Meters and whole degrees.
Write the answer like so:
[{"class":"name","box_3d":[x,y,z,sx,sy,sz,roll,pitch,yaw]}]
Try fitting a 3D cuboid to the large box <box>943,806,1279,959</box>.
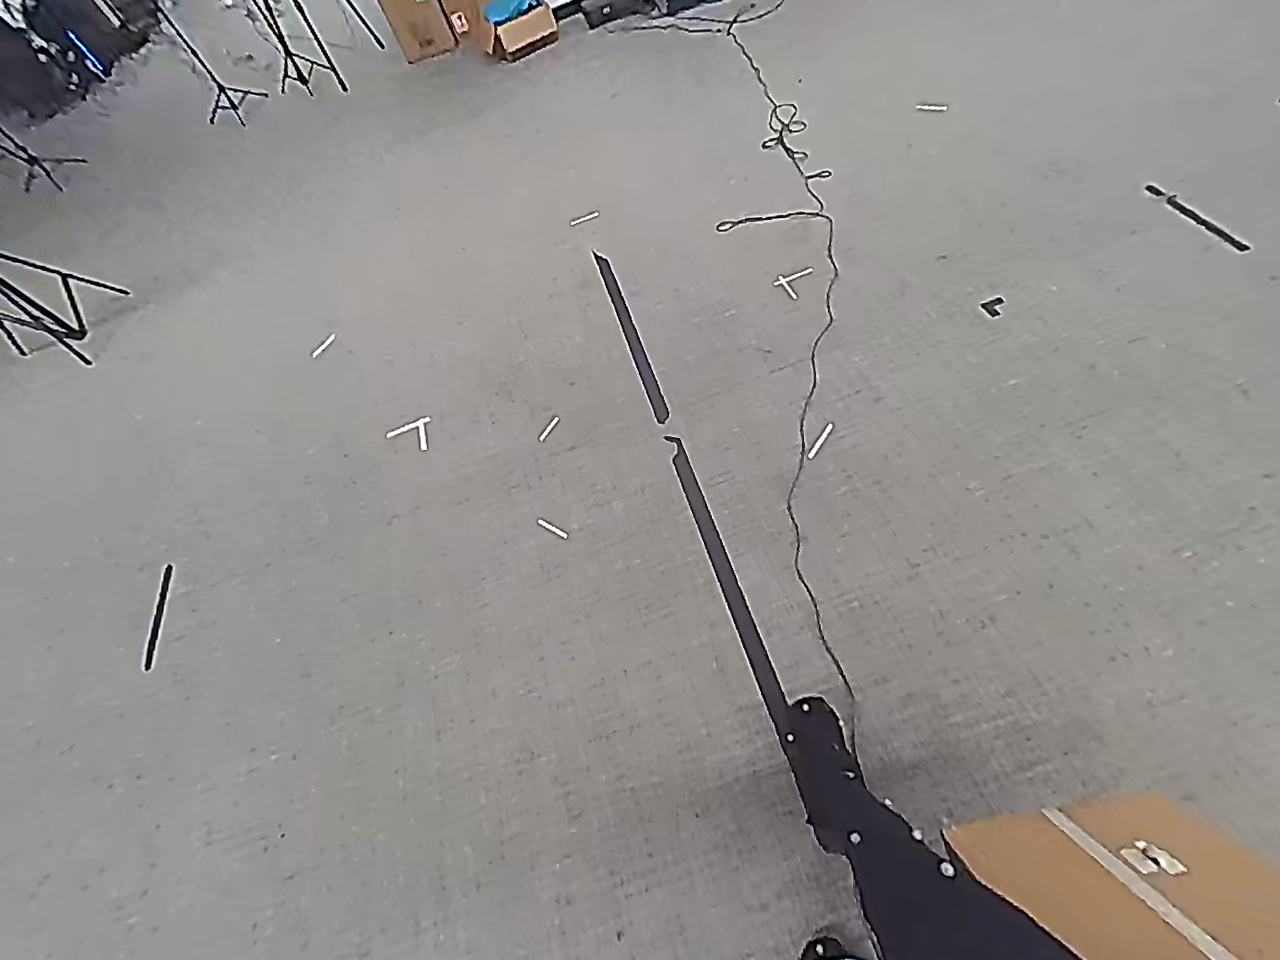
[{"class":"large box","box_3d":[0.621,0.642,0.597,0.320,0.408,0.320,-12,83,5]}]
